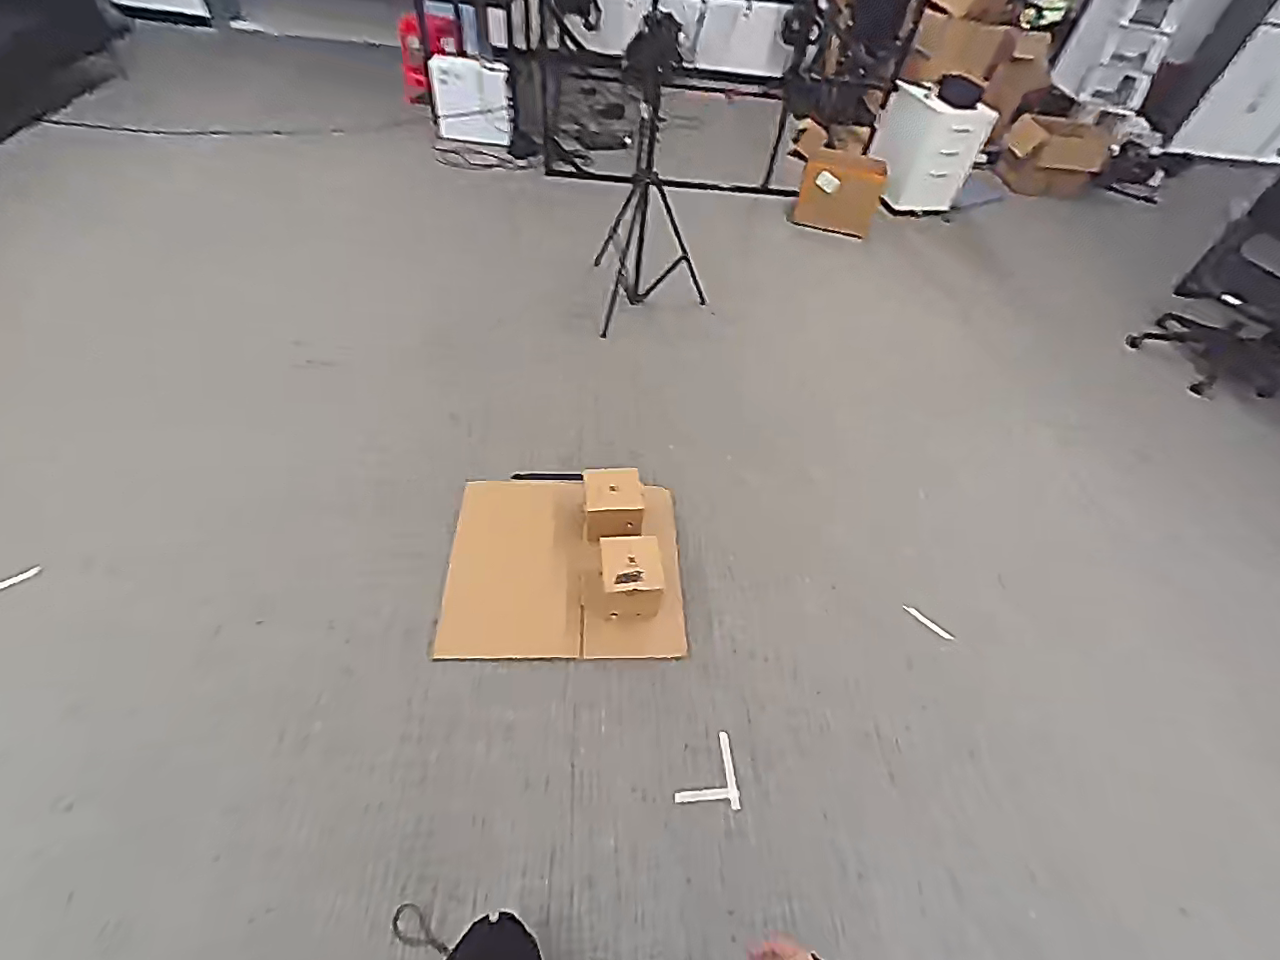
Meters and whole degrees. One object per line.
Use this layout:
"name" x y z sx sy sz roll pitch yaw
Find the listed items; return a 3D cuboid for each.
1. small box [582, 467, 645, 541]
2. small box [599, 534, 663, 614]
"small box" -0.089 0.077 1.708 0.179 0.176 0.168 -4 50 -9
"small box" -0.031 0.275 1.550 0.168 0.176 0.179 -2 51 -8
